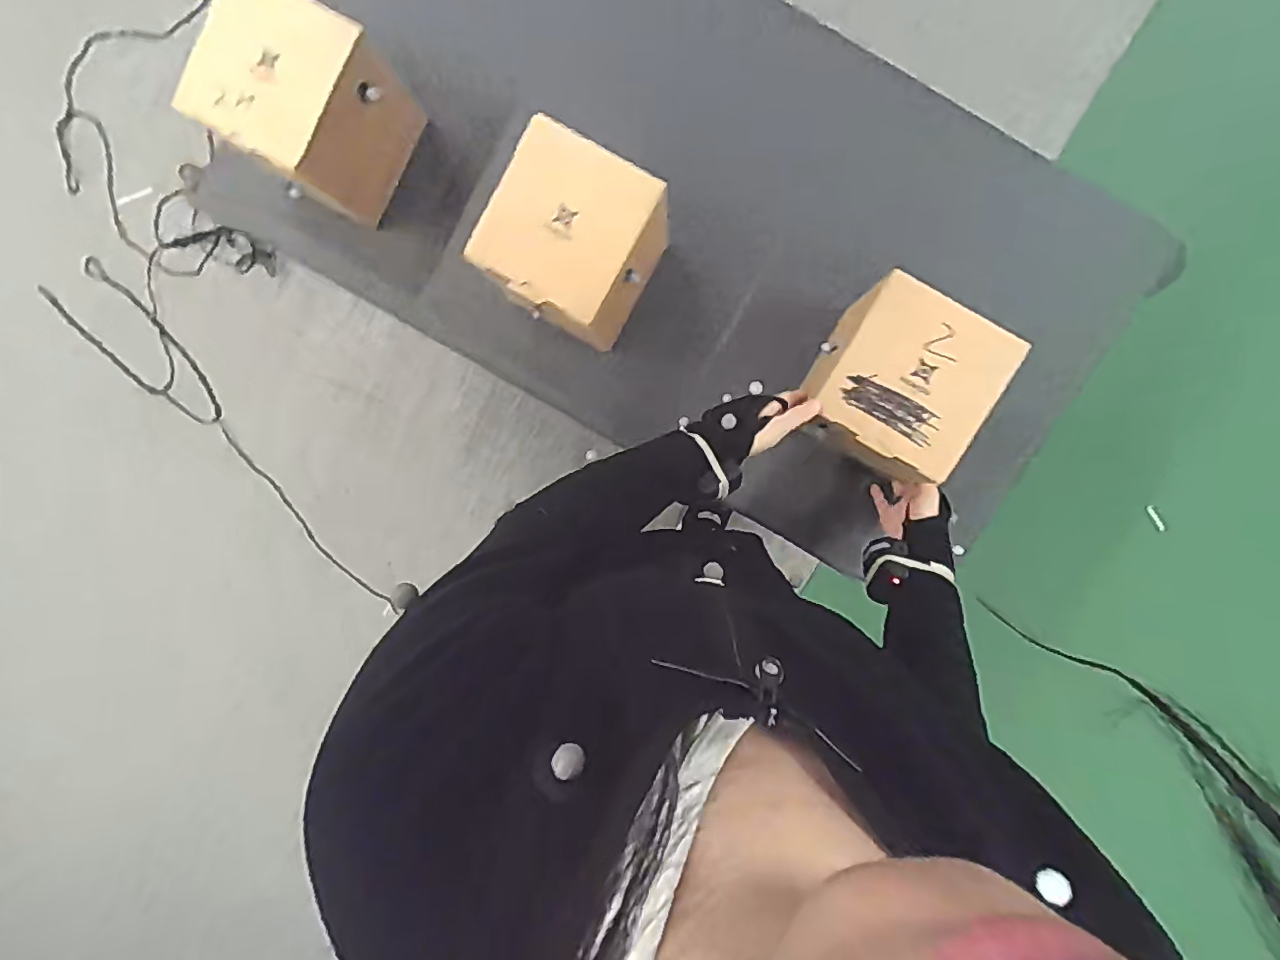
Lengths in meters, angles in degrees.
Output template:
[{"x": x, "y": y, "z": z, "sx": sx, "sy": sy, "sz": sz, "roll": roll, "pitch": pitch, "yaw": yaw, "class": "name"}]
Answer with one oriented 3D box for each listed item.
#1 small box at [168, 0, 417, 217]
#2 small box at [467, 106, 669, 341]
[{"x": -0.408, "y": -0.471, "z": 0.671, "sx": 0.168, "sy": 0.176, "sz": 0.179, "roll": 29, "pitch": 95, "yaw": 1, "class": "small box"}, {"x": -0.078, "y": -0.296, "z": 0.668, "sx": 0.168, "sy": 0.176, "sz": 0.179, "roll": 30, "pitch": 96, "yaw": 0, "class": "small box"}]
